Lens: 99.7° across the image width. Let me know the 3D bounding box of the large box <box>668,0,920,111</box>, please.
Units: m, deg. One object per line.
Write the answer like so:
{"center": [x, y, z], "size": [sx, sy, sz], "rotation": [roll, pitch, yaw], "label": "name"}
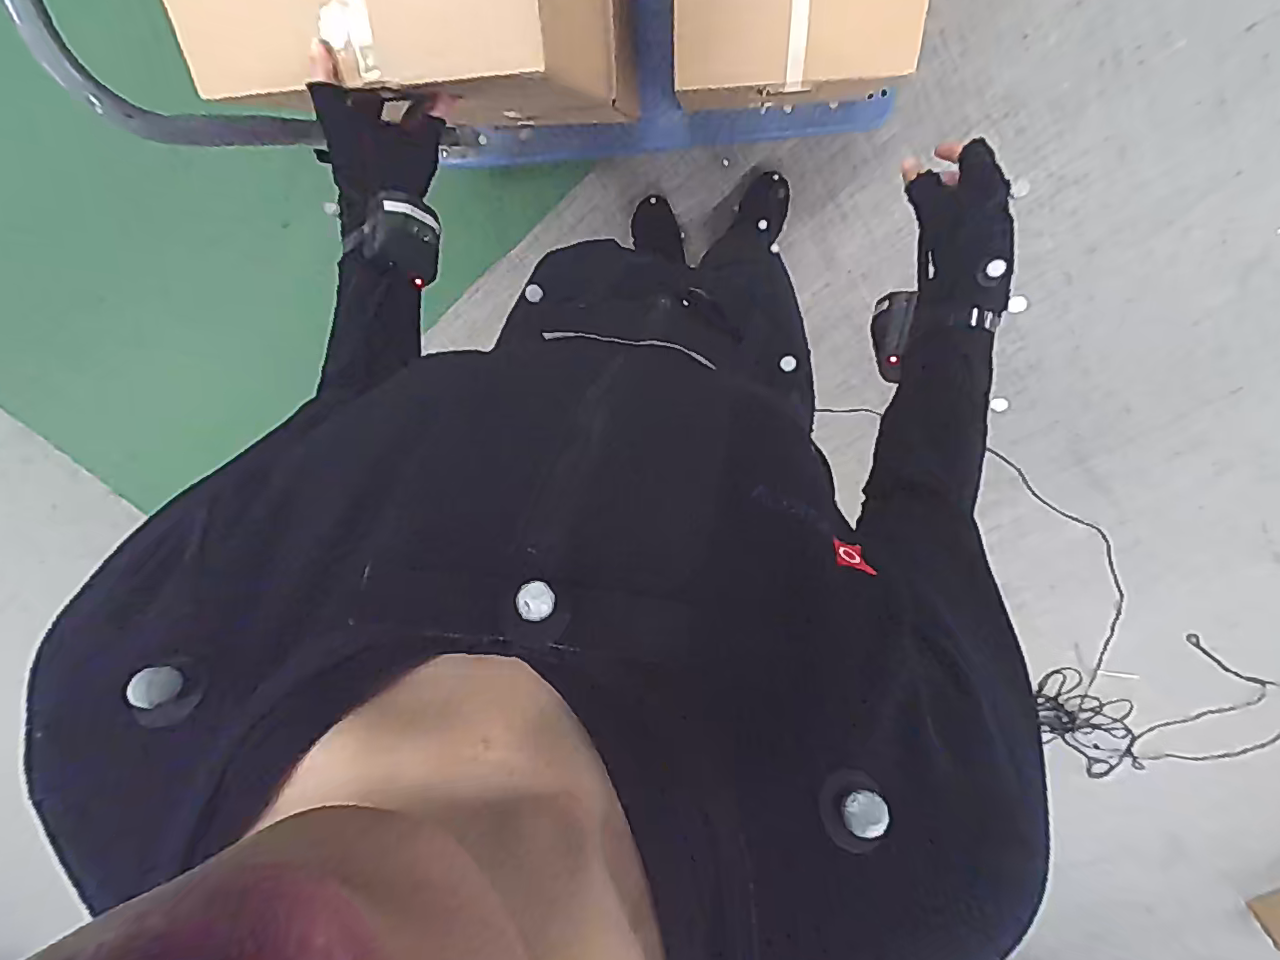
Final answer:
{"center": [0.204, -0.775, 0.747], "size": [0.320, 0.320, 0.408], "rotation": [1, 120, 7], "label": "large box"}
